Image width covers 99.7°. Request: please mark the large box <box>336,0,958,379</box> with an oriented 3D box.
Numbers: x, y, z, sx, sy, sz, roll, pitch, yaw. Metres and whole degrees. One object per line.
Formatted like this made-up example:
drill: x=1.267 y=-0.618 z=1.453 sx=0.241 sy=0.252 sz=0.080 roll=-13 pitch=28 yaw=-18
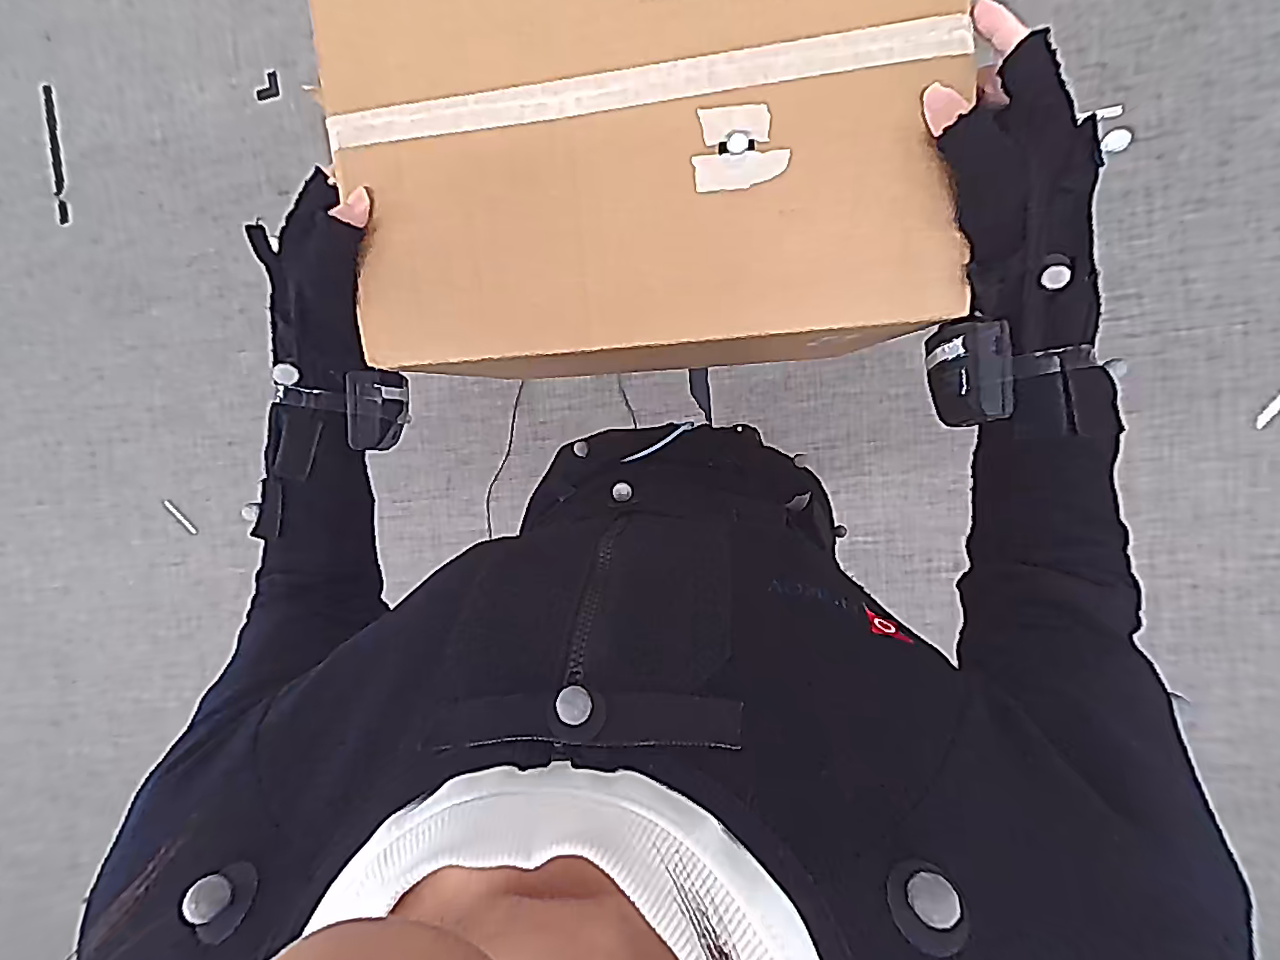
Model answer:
large box: x=0.012 y=-0.273 z=0.501 sx=0.408 sy=0.320 sz=0.320 roll=-4 pitch=99 yaw=7
